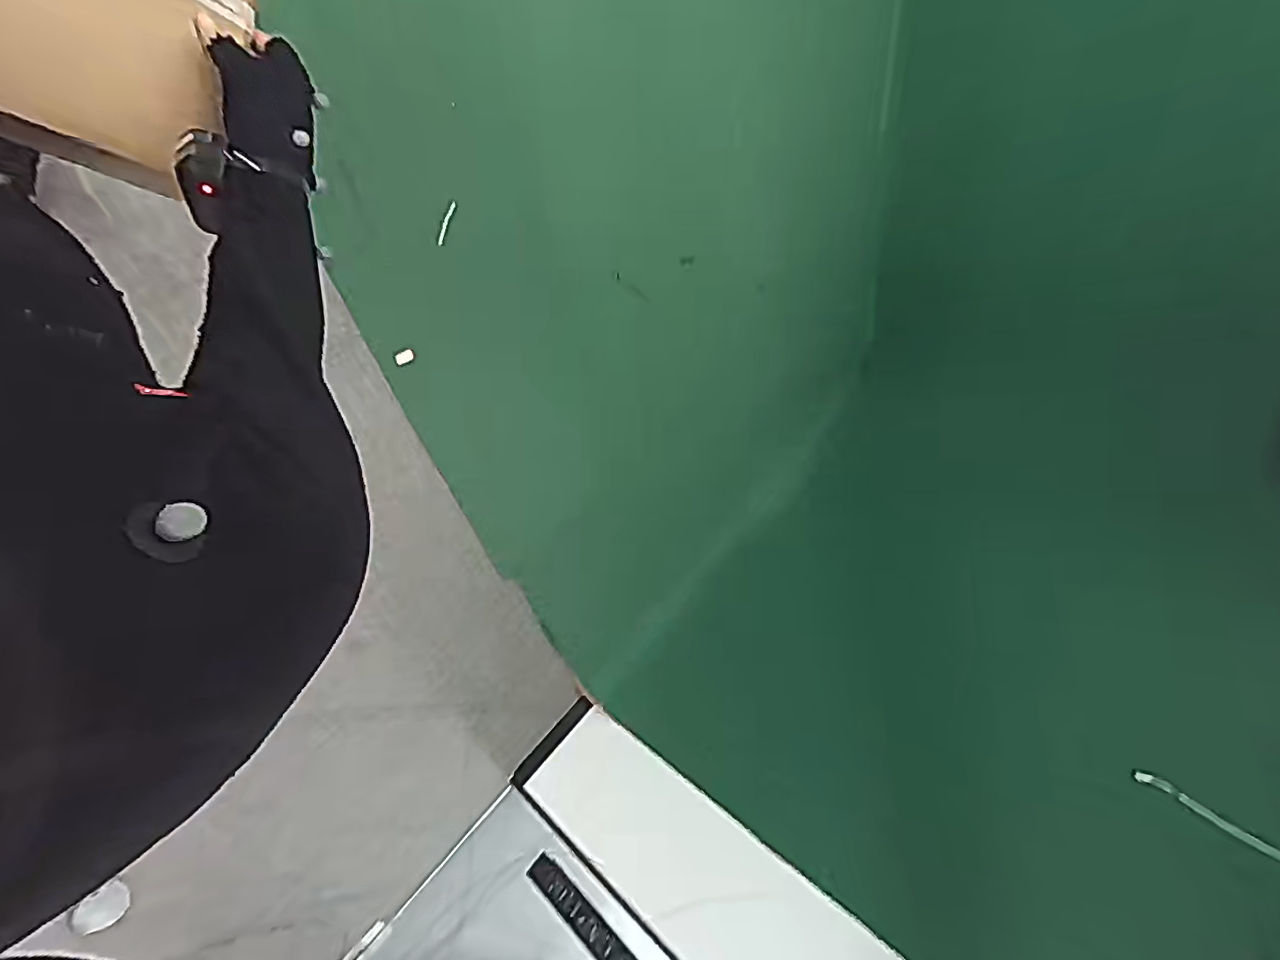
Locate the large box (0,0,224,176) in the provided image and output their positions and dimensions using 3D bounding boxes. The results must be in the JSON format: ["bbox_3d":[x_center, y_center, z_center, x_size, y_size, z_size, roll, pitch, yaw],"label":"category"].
[{"bbox_3d":[-0.600,-0.493,0.434,0.408,0.320,0.320,8,104,-47],"label":"large box"}]
